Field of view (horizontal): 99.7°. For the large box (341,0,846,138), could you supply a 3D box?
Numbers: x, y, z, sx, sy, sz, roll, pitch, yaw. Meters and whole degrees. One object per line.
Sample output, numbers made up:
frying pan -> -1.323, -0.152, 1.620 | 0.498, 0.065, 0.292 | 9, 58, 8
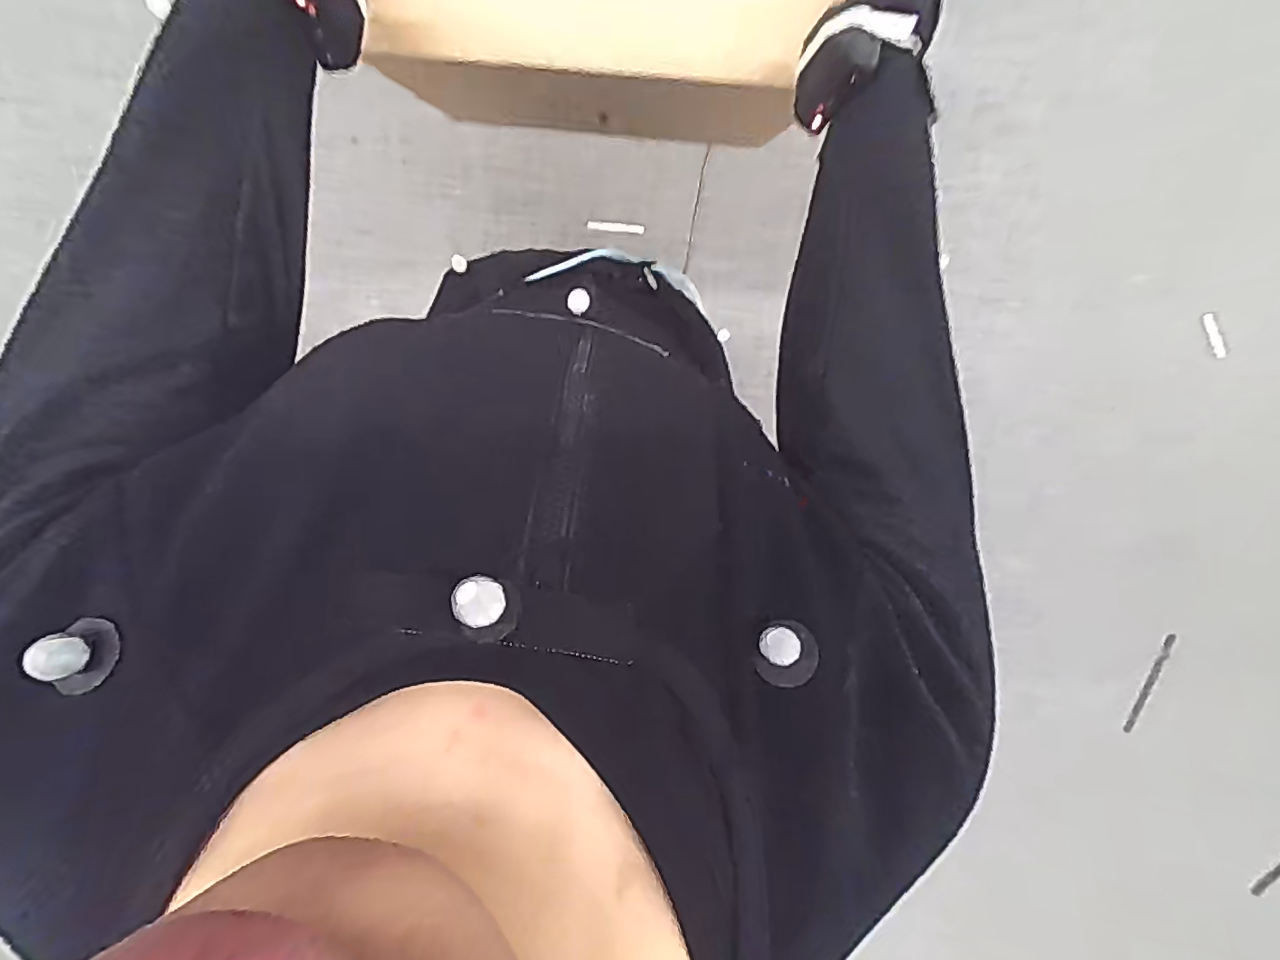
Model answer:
large box -> -0.027, -0.537, 0.515 | 0.408, 0.320, 0.320 | 4, 113, -2
